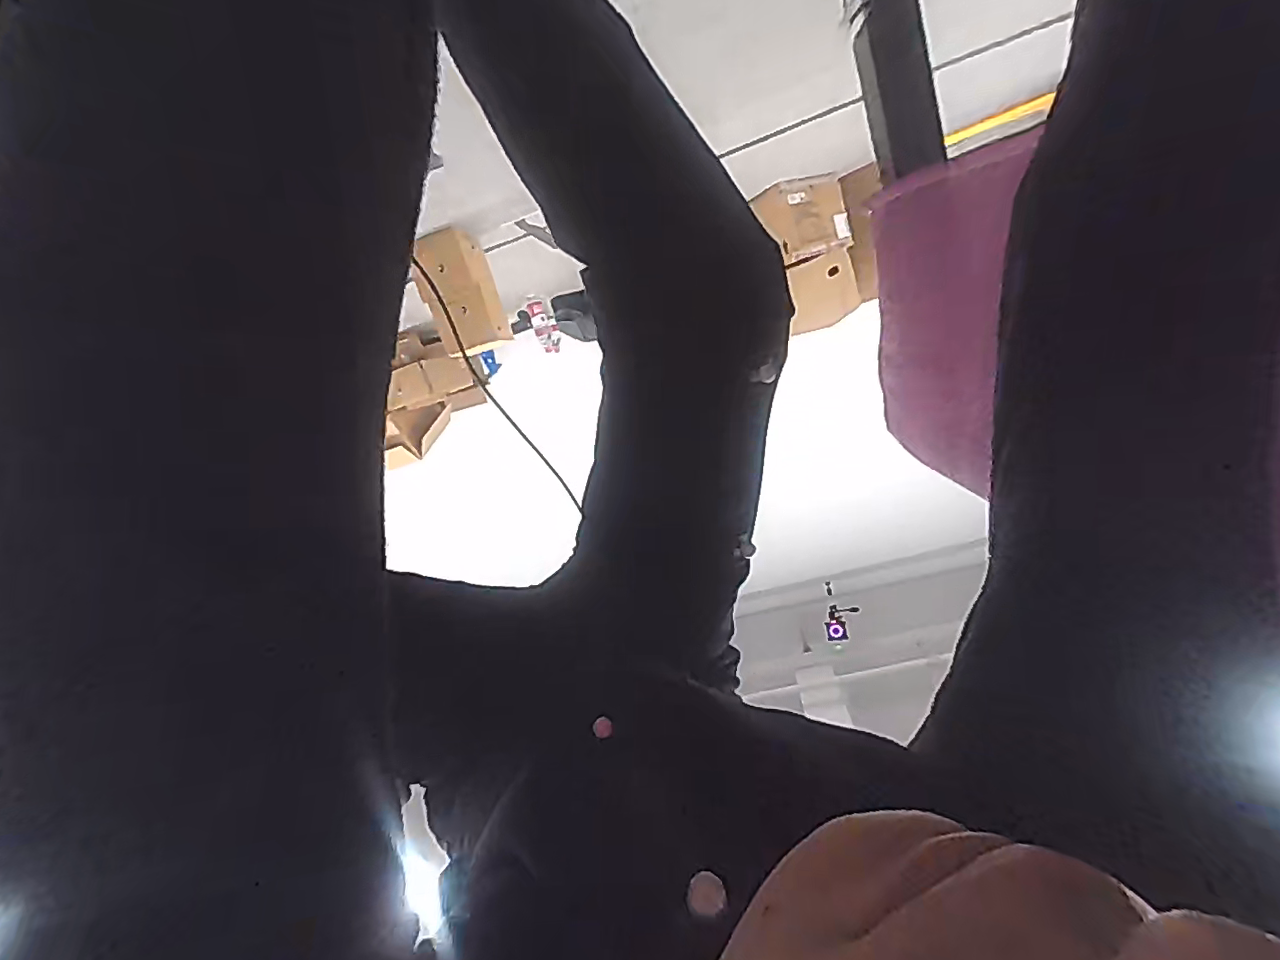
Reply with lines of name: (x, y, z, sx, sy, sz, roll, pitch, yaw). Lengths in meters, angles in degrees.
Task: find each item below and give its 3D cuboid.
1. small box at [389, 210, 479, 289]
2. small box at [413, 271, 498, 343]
small box: (-0.613, -0.673, 1.602, 0.179, 0.176, 0.168, -16, -166, 12)
small box: (-0.560, -0.527, 1.652, 0.168, 0.176, 0.179, -16, -167, 7)
